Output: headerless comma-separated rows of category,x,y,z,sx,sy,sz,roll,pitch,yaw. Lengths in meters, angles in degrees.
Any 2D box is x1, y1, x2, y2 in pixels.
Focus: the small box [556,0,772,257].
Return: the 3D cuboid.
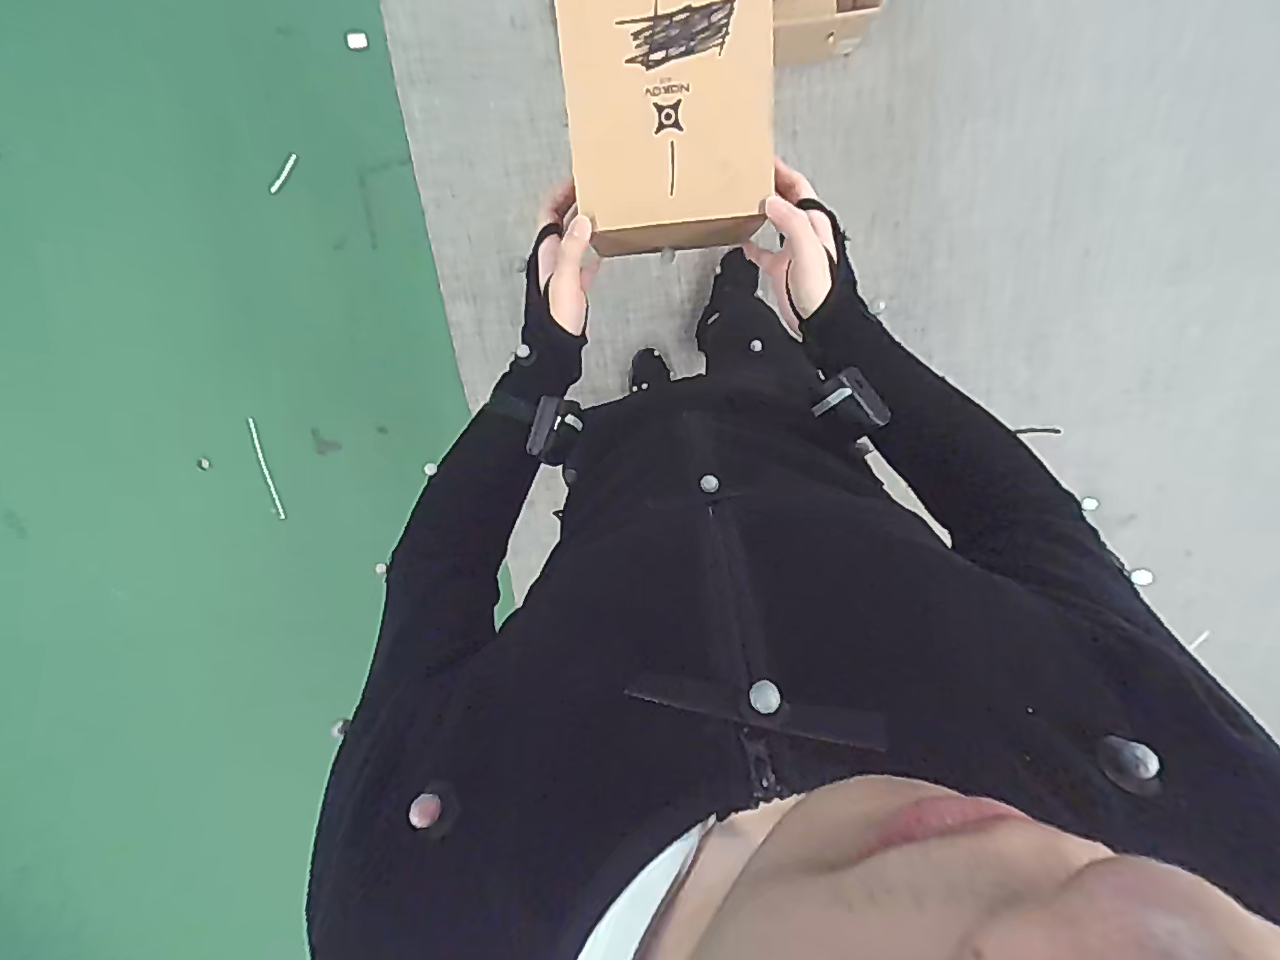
small box,0.023,-0.318,0.502,0.168,0.176,0.179,-4,105,3
